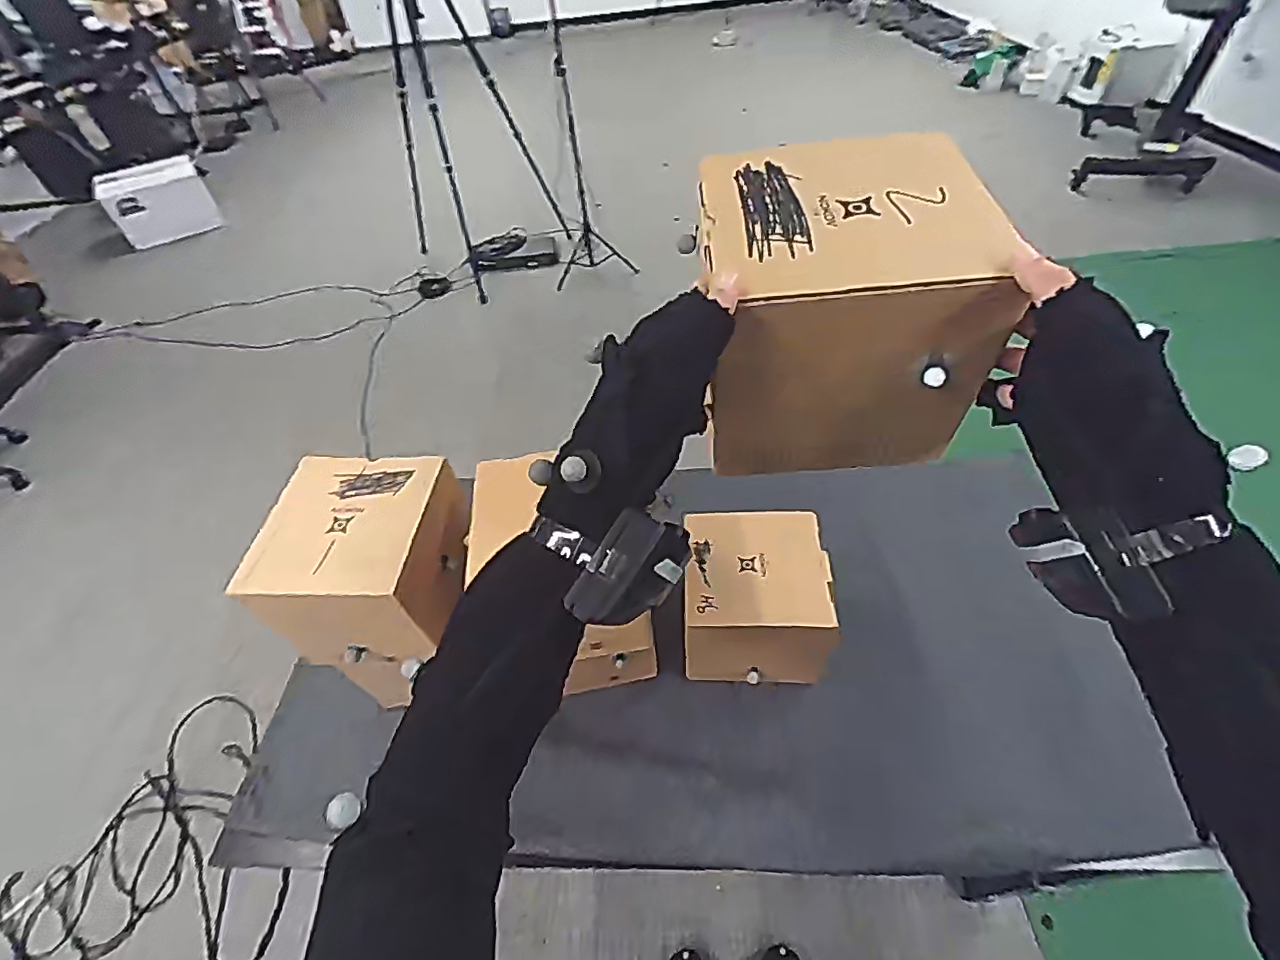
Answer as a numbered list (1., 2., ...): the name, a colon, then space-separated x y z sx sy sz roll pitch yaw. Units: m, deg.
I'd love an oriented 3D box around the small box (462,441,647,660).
1. small box: -0.085 0.085 0.601 0.168 0.176 0.179 -8 48 -3
